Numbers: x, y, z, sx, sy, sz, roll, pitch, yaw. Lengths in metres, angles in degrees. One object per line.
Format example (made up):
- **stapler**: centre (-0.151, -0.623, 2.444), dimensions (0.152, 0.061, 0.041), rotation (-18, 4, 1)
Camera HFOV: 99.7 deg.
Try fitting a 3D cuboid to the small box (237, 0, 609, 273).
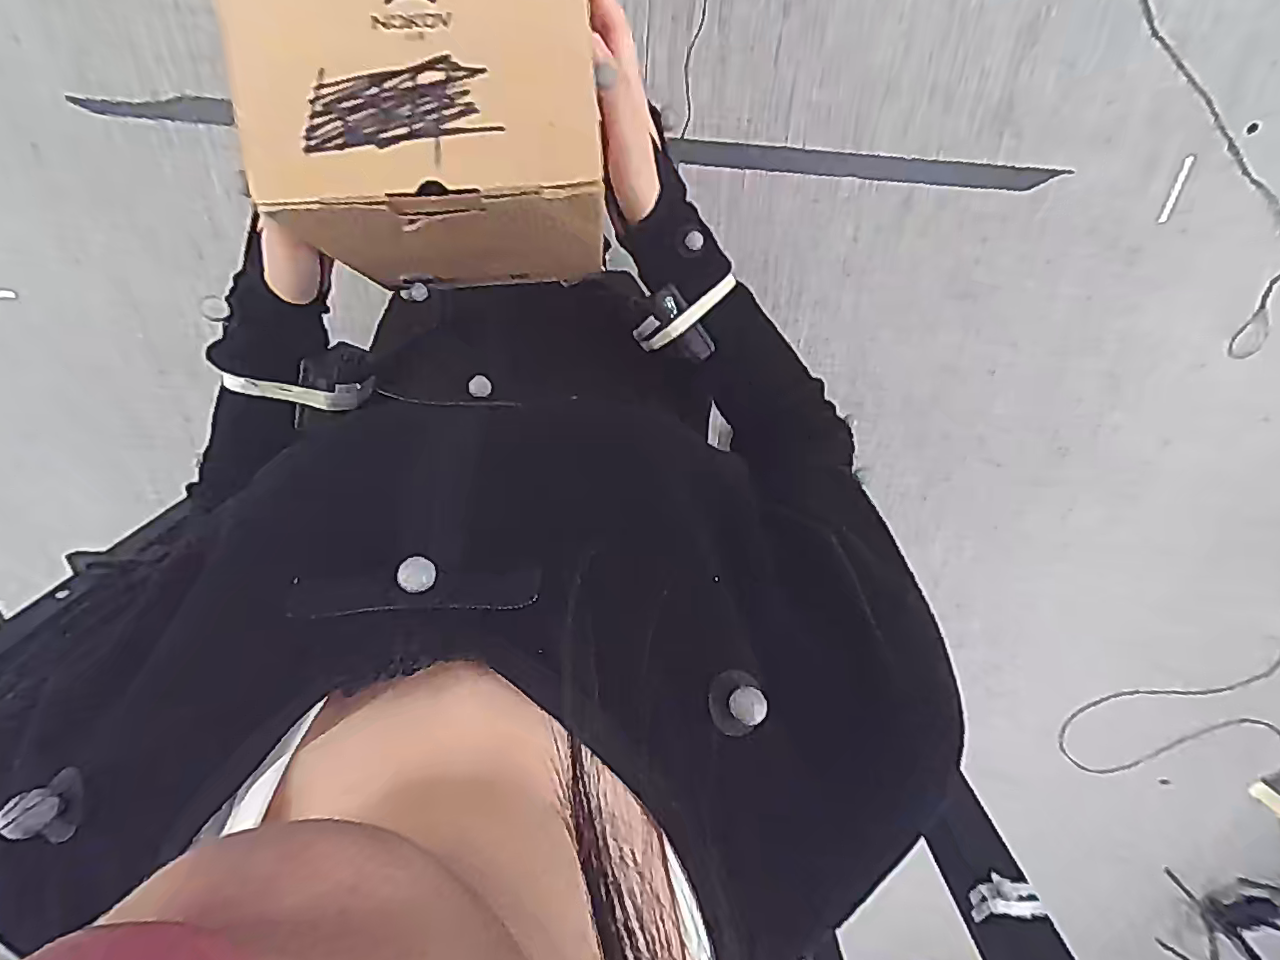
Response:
- **small box**: centre (-0.106, -0.233, 0.327), dimensions (0.168, 0.176, 0.179), rotation (-5, 96, -5)
